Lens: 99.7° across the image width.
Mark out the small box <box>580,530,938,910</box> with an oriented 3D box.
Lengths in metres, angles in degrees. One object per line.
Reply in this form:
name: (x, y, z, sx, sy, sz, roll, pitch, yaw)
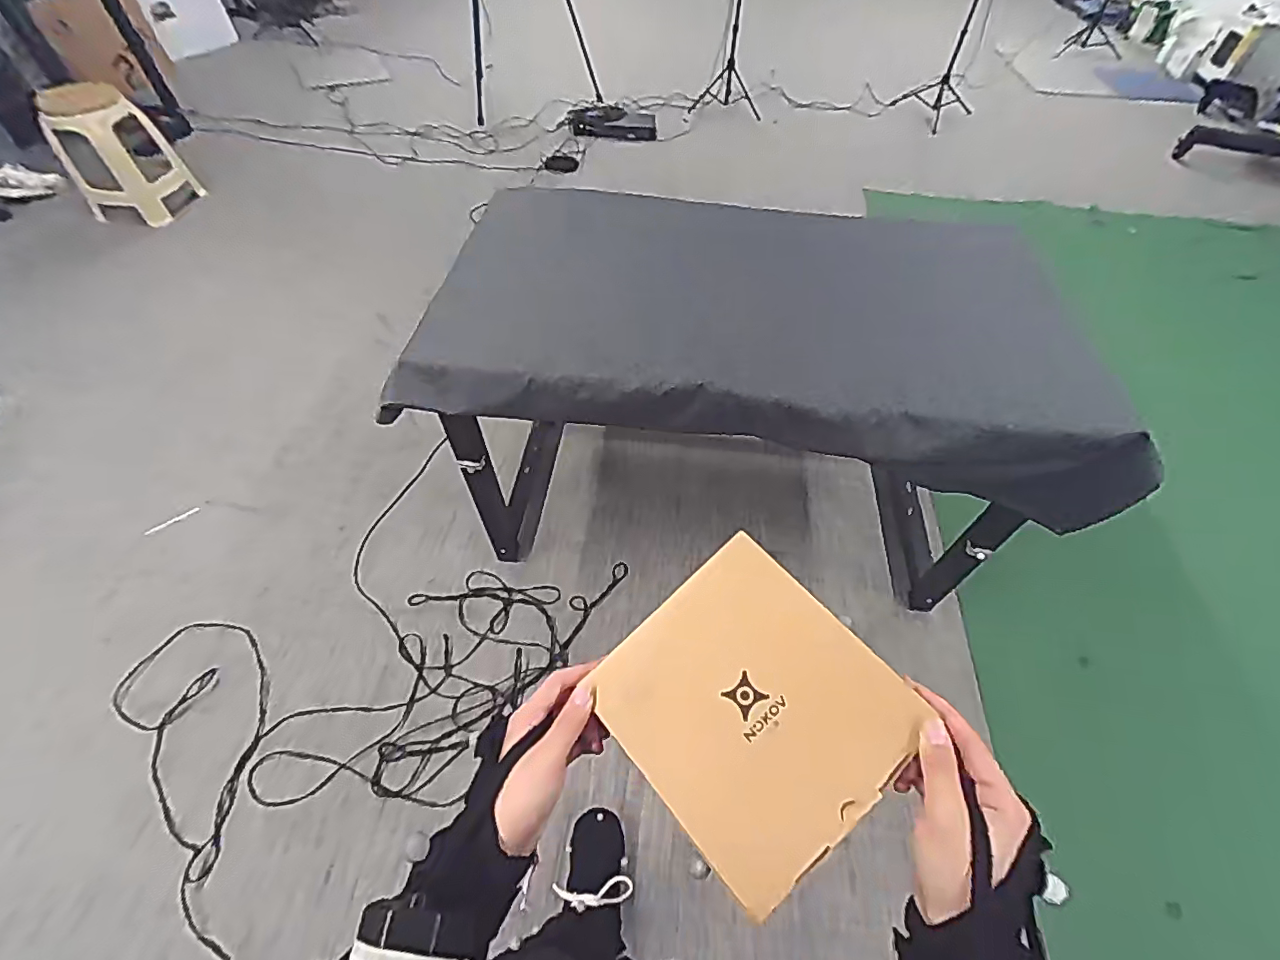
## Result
small box: (0.082, 0.176, 0.427, 0.168, 0.176, 0.179, -41, 66, -11)
